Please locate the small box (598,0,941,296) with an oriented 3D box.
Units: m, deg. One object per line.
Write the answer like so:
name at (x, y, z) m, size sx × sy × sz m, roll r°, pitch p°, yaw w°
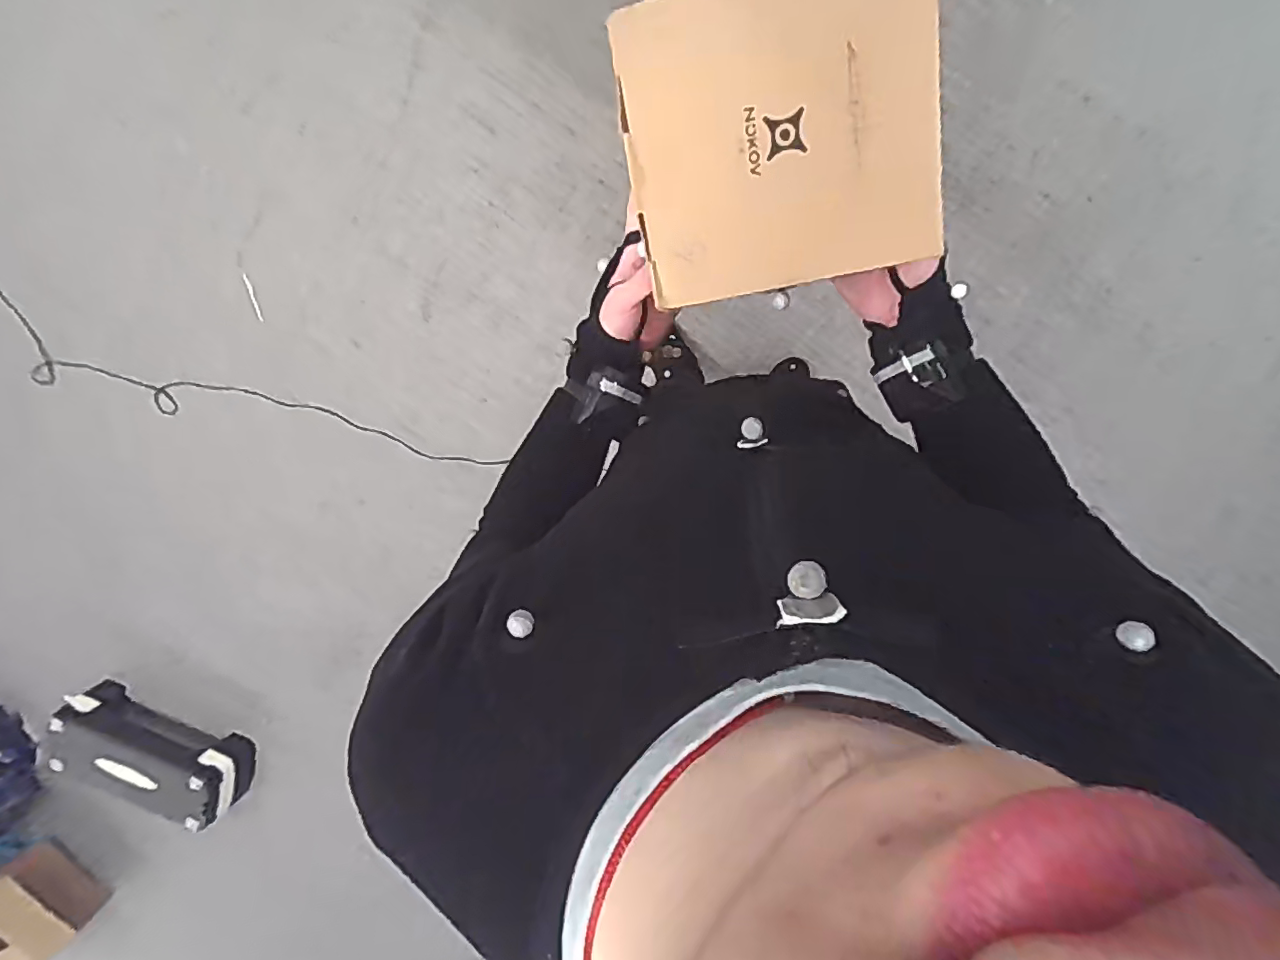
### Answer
small box at (0.086, -0.229, 0.380) m, size 0.179 × 0.176 × 0.168 m, roll -9°, pitch 108°, yaw 11°
